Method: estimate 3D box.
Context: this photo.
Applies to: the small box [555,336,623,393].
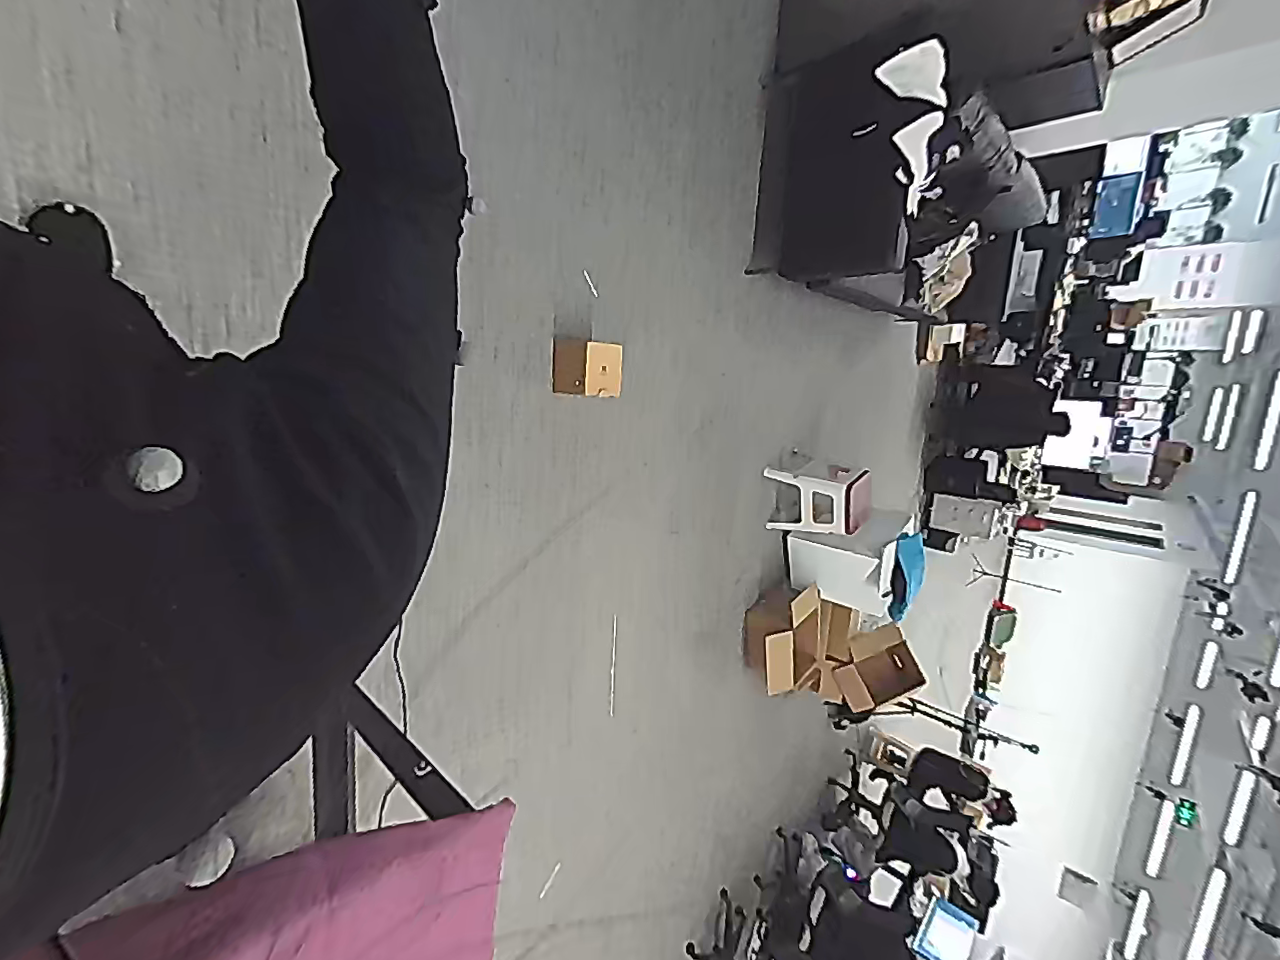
[{"bbox_3d":[-0.177,-0.396,1.857,0.168,0.176,0.179,-7,105,-47],"label":"small box"}]
